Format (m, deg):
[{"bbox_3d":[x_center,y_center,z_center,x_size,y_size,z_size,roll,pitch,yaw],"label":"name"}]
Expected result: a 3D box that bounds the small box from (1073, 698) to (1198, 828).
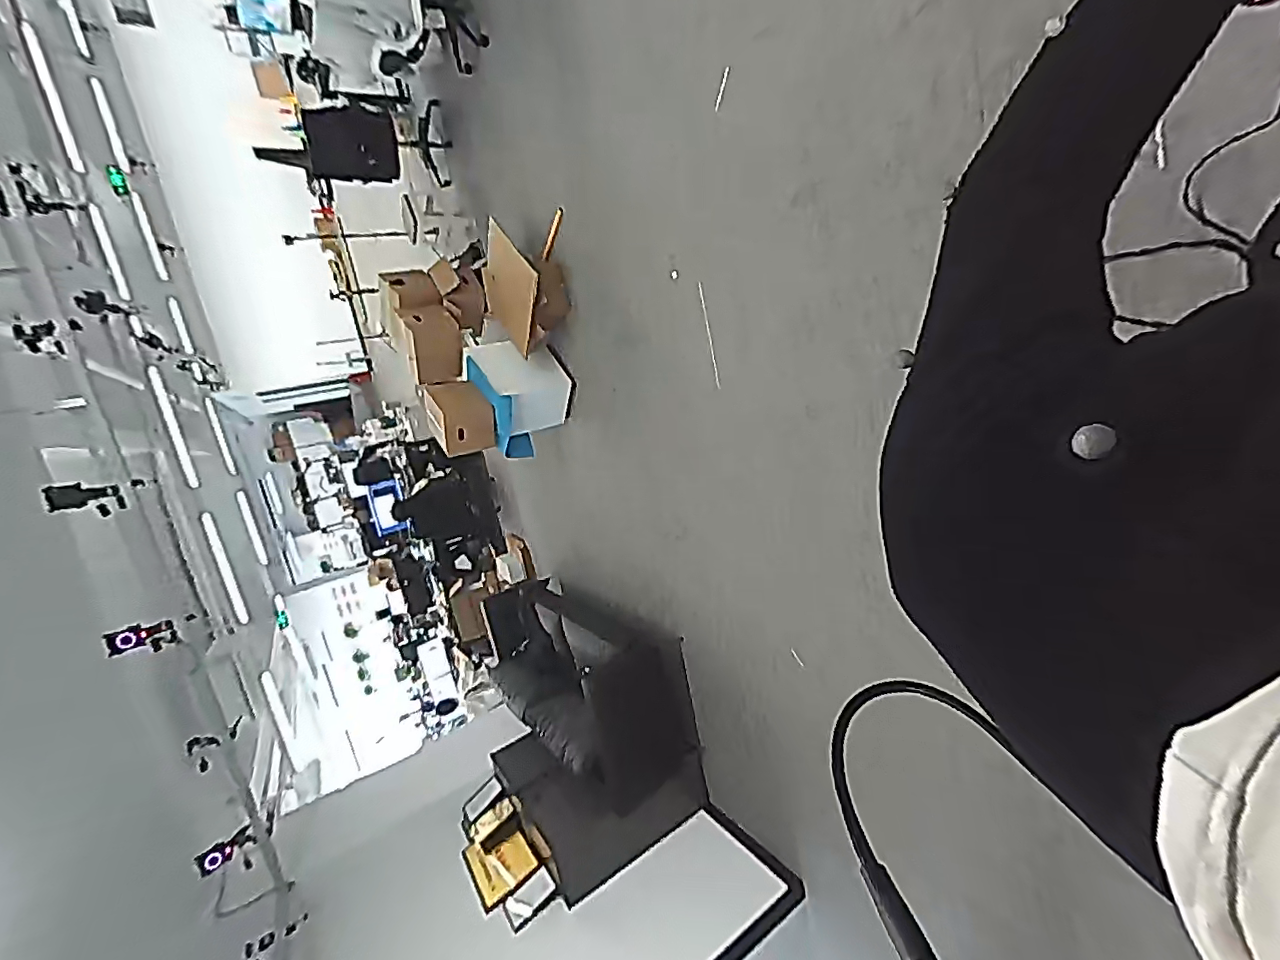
[{"bbox_3d":[1.121,0.625,1.222,0.179,0.176,0.168,6,109,58],"label":"small box"}]
